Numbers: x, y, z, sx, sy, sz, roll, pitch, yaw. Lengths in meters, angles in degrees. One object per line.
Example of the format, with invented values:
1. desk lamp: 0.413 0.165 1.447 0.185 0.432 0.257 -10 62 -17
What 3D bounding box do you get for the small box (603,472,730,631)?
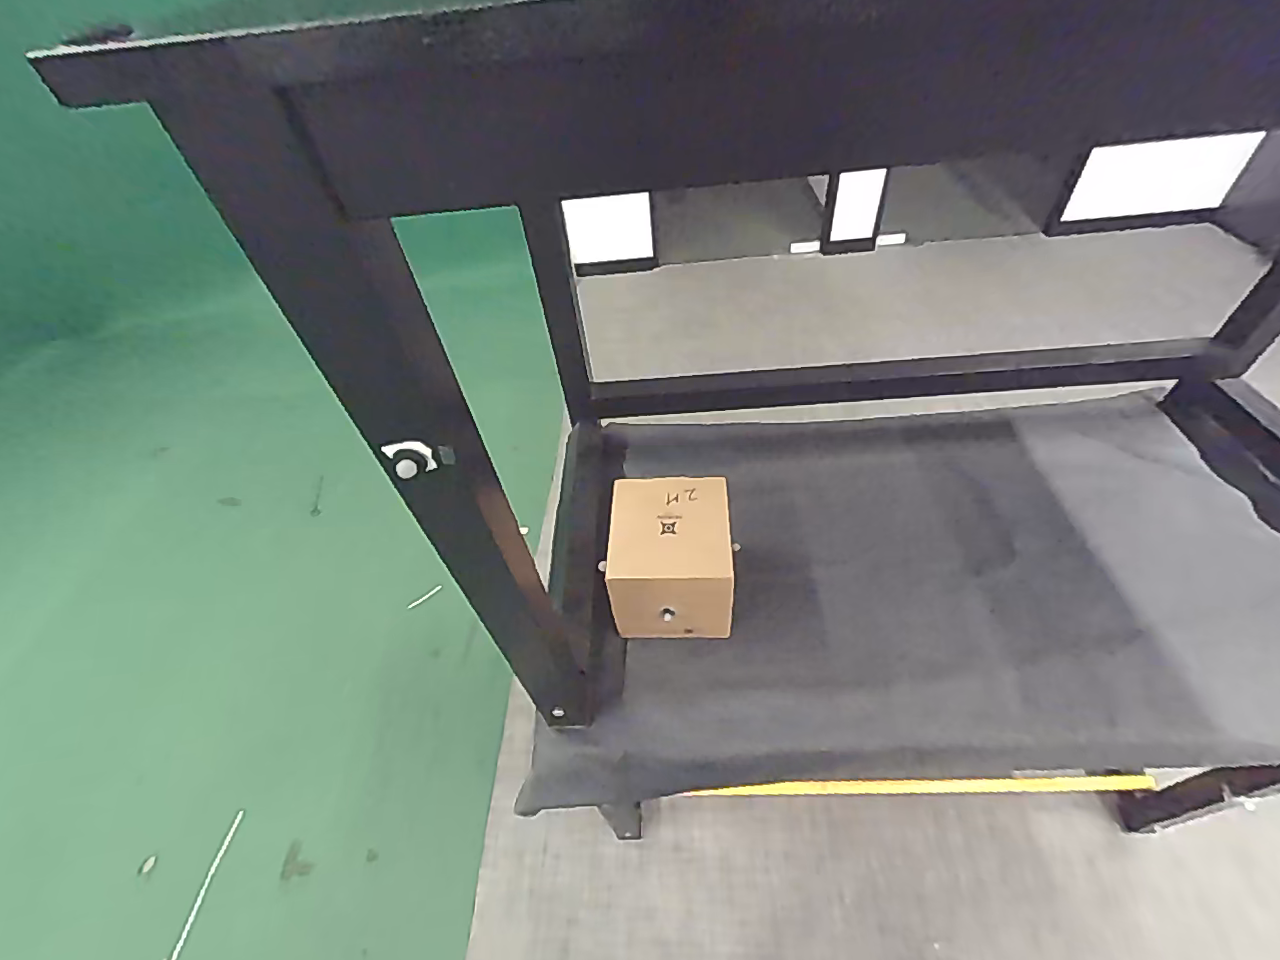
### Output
1. small box: 0.046 0.108 0.793 0.168 0.176 0.179 -1 48 5
